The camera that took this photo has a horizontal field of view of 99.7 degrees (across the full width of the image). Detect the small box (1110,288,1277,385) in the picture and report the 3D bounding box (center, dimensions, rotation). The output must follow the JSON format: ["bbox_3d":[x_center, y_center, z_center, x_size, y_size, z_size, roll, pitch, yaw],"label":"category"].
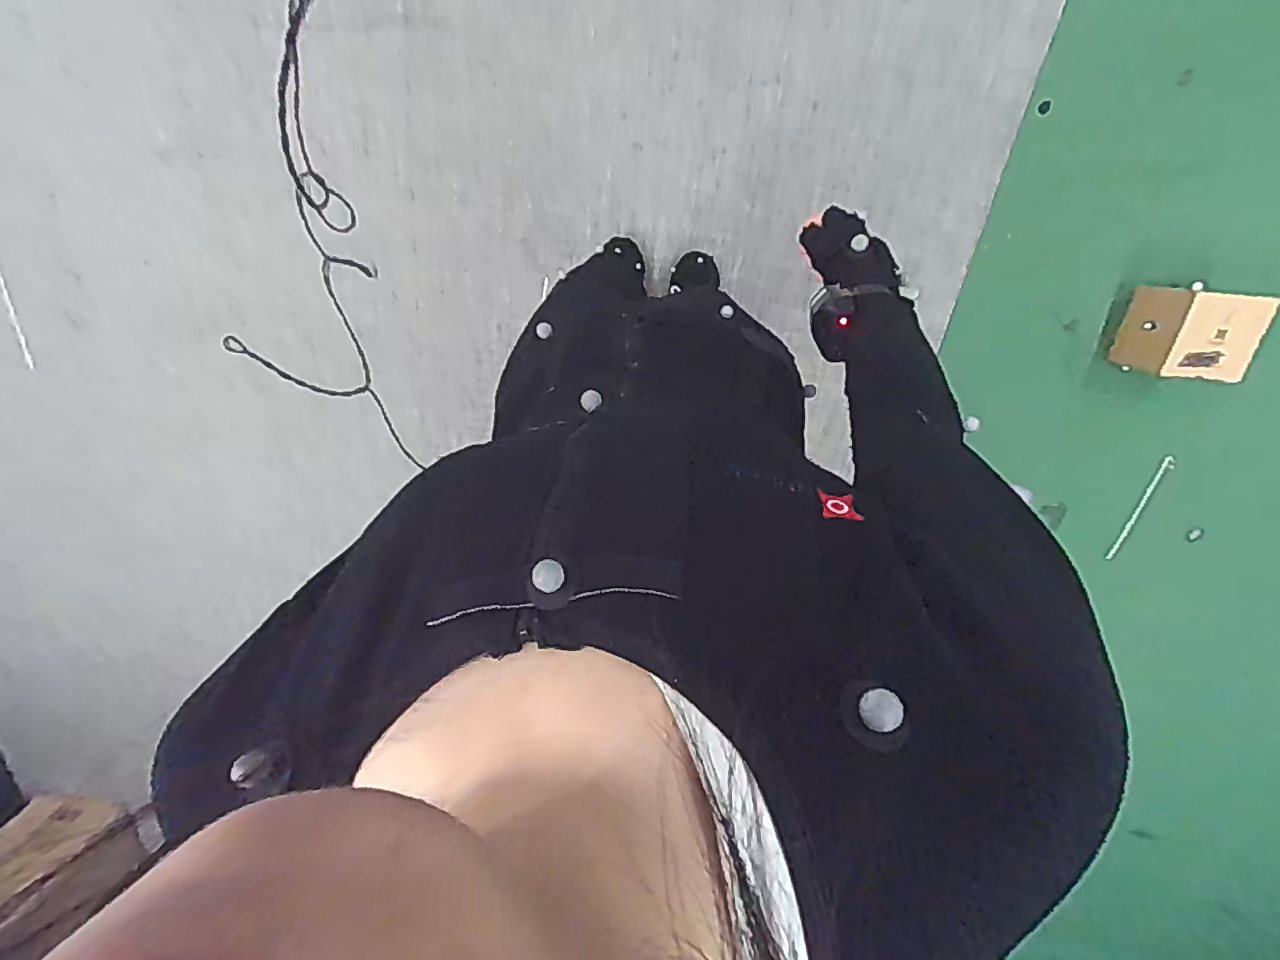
[{"bbox_3d":[1.203,-0.322,1.197,0.168,0.176,0.179,6,113,3],"label":"small box"}]
